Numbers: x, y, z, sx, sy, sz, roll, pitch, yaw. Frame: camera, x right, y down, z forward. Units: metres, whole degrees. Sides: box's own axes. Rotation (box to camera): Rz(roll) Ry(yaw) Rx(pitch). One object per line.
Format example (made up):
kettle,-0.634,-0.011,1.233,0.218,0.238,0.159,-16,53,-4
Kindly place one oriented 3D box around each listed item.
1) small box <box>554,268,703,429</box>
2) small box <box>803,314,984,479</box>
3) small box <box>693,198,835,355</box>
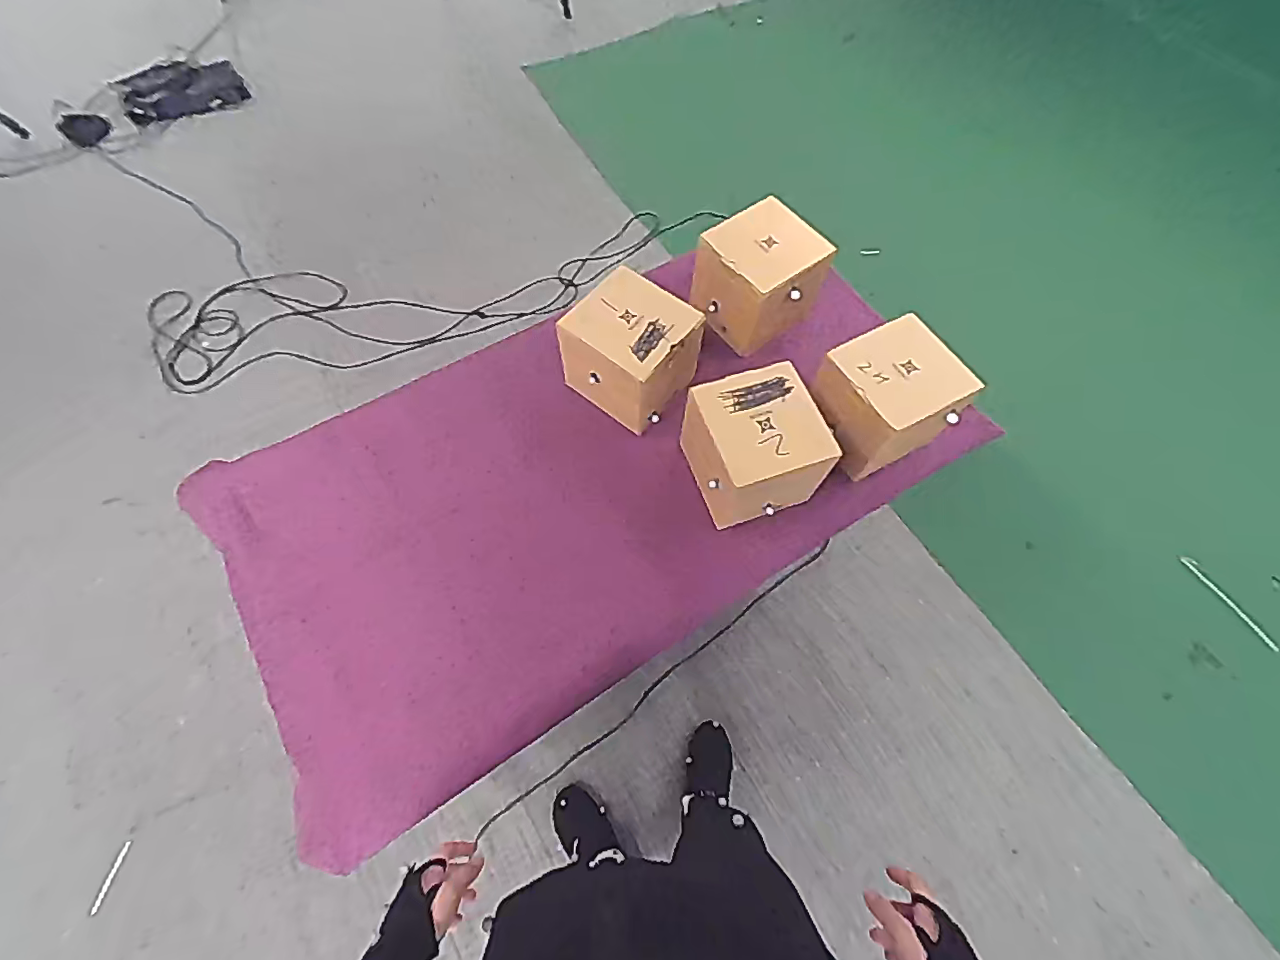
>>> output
small box,-0.018,-0.211,0.915,0.179,0.176,0.168,36,70,14
small box,0.397,-0.130,0.881,0.179,0.176,0.168,-26,67,-11
small box,0.215,-0.367,0.992,0.179,0.176,0.168,-35,71,-14
